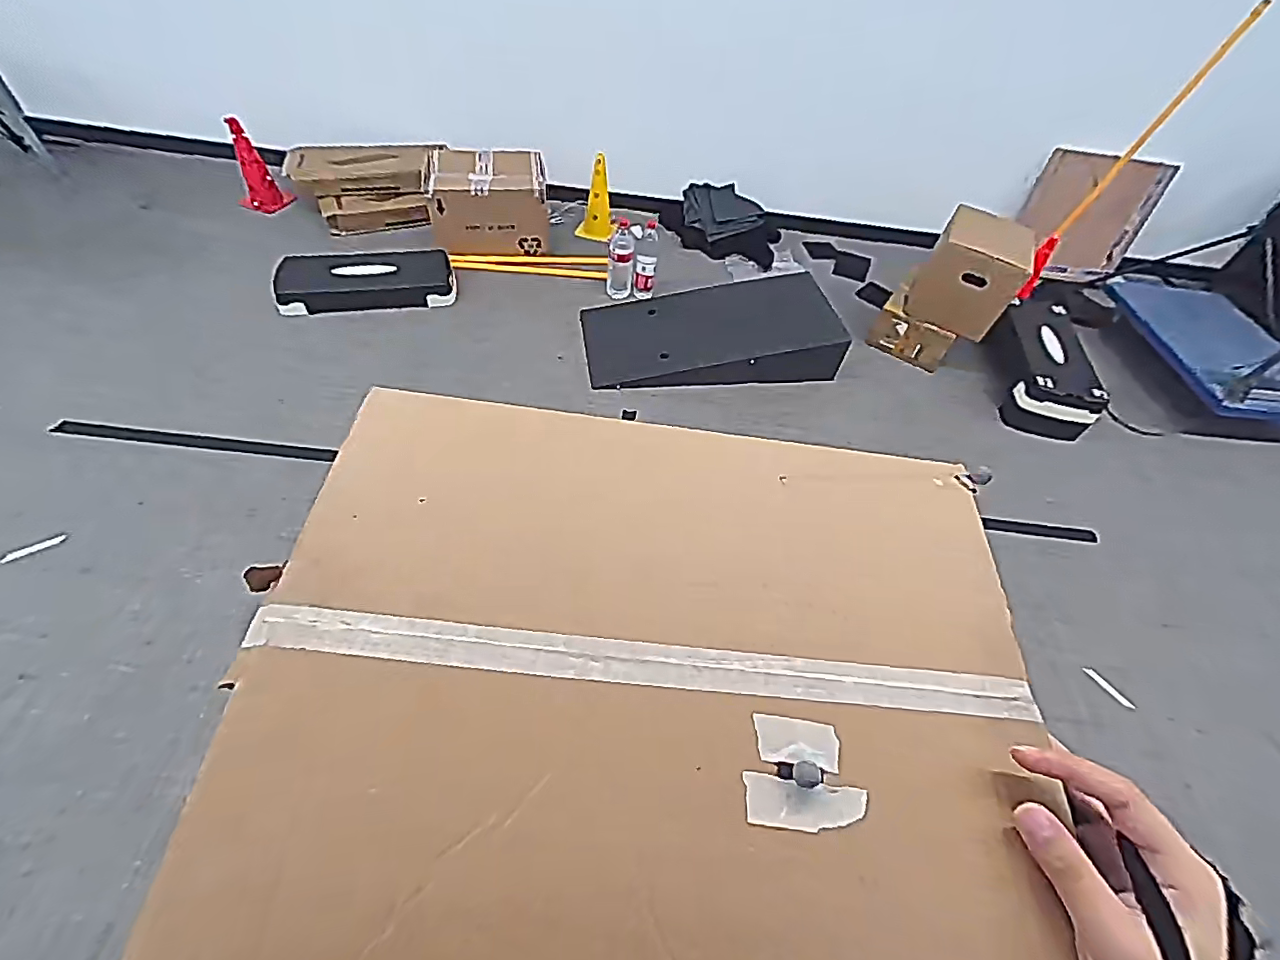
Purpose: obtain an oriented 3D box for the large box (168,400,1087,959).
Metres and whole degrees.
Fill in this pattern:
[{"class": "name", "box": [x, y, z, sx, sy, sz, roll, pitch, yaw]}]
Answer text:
[{"class": "large box", "box": [-0.002, 0.174, 0.422, 0.408, 0.320, 0.320, 8, 59, -4]}]
